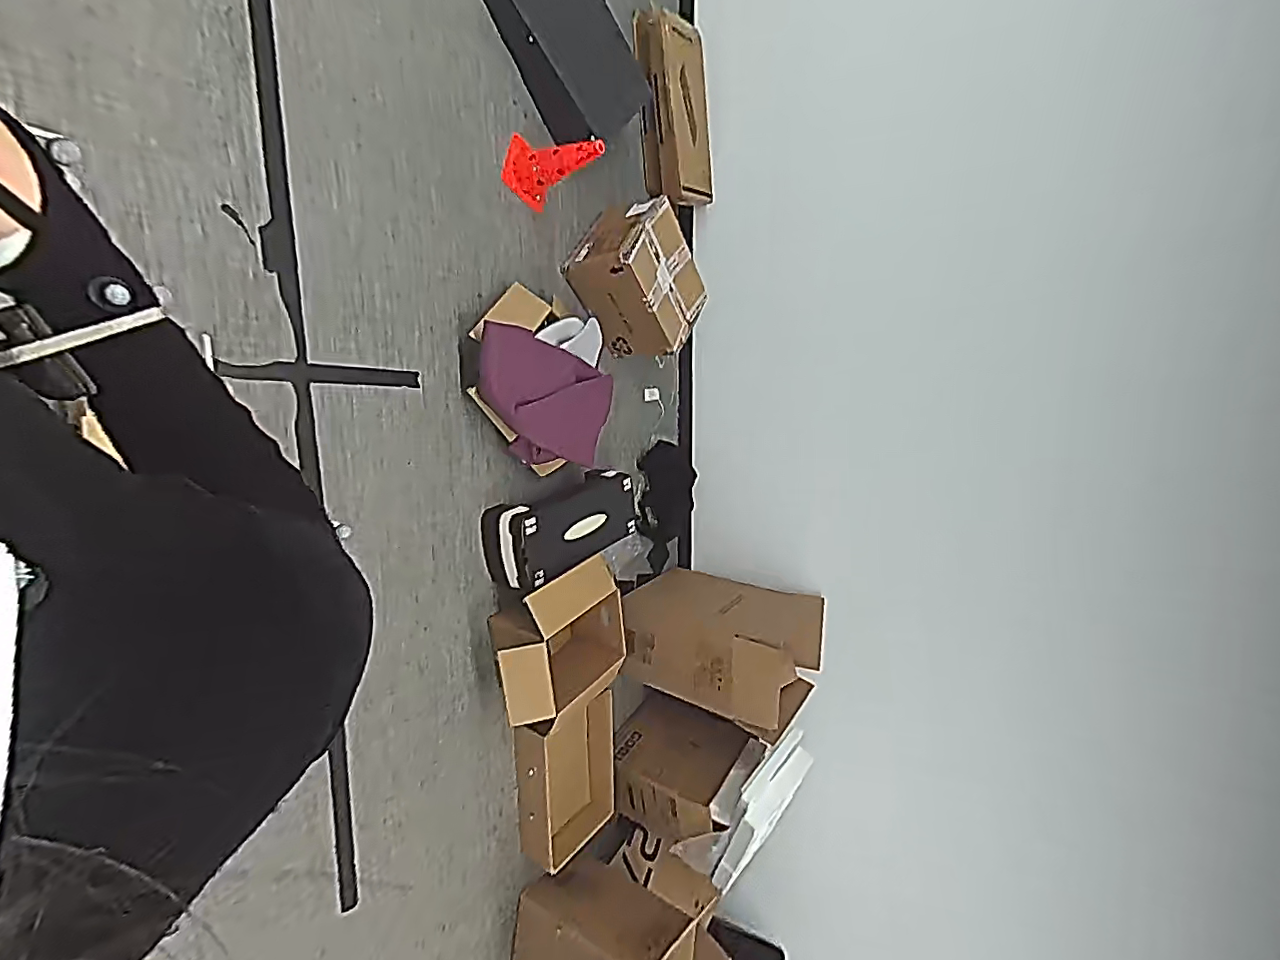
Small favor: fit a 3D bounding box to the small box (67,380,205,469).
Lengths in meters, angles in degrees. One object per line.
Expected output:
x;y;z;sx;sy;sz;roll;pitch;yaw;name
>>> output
-1.022;-0.113;1.095;0.179;0.176;0.168;-11;103;-53;small box
